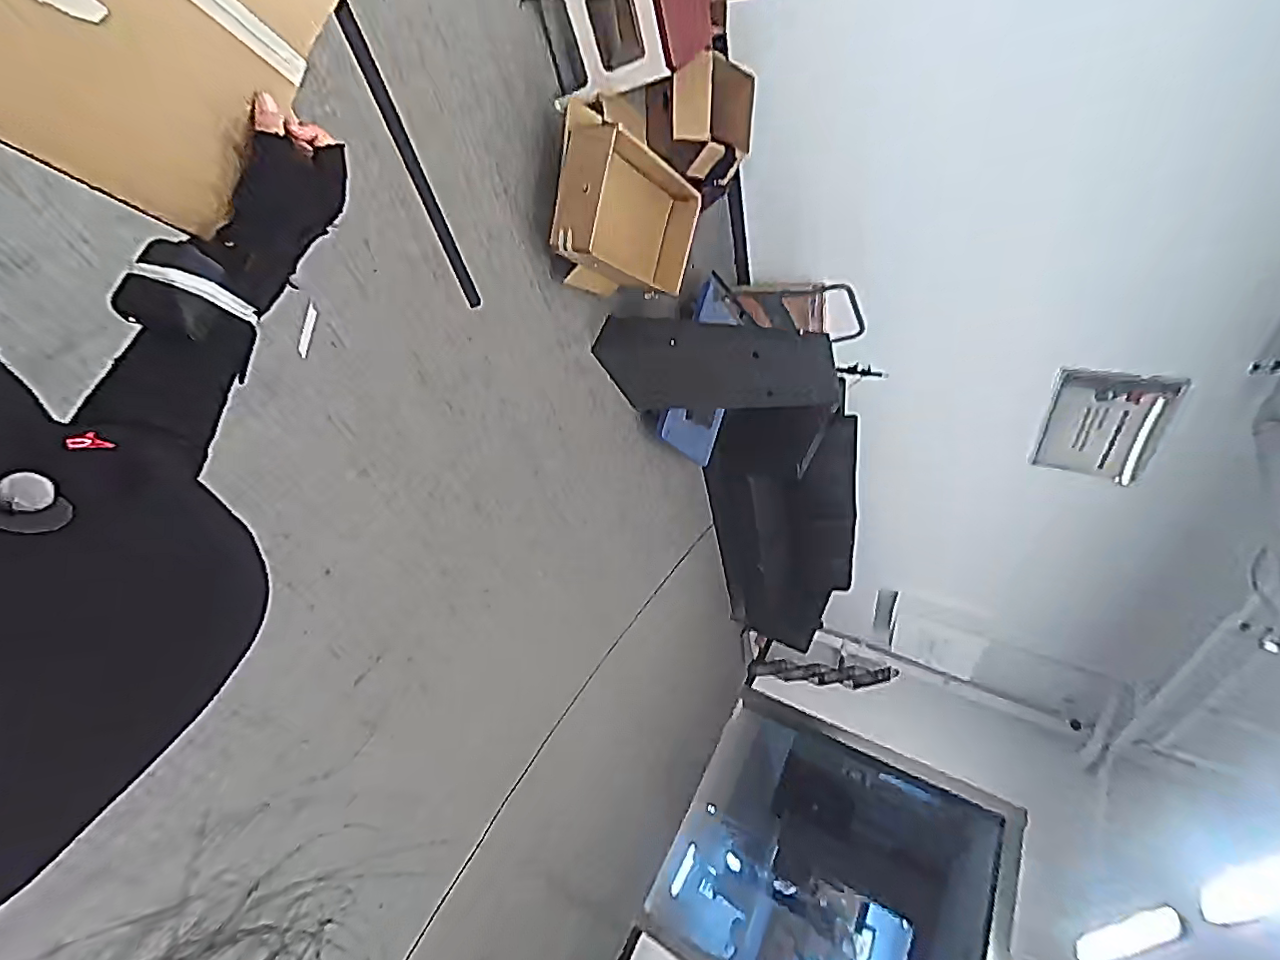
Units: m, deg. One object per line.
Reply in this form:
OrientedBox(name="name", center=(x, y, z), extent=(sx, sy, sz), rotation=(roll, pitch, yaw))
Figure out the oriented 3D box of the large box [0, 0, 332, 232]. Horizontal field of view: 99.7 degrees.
OrientedBox(name="large box", center=(-0.489, -0.439, 0.349), extent=(0.320, 0.320, 0.408), rotation=(-61, 151, 3))
